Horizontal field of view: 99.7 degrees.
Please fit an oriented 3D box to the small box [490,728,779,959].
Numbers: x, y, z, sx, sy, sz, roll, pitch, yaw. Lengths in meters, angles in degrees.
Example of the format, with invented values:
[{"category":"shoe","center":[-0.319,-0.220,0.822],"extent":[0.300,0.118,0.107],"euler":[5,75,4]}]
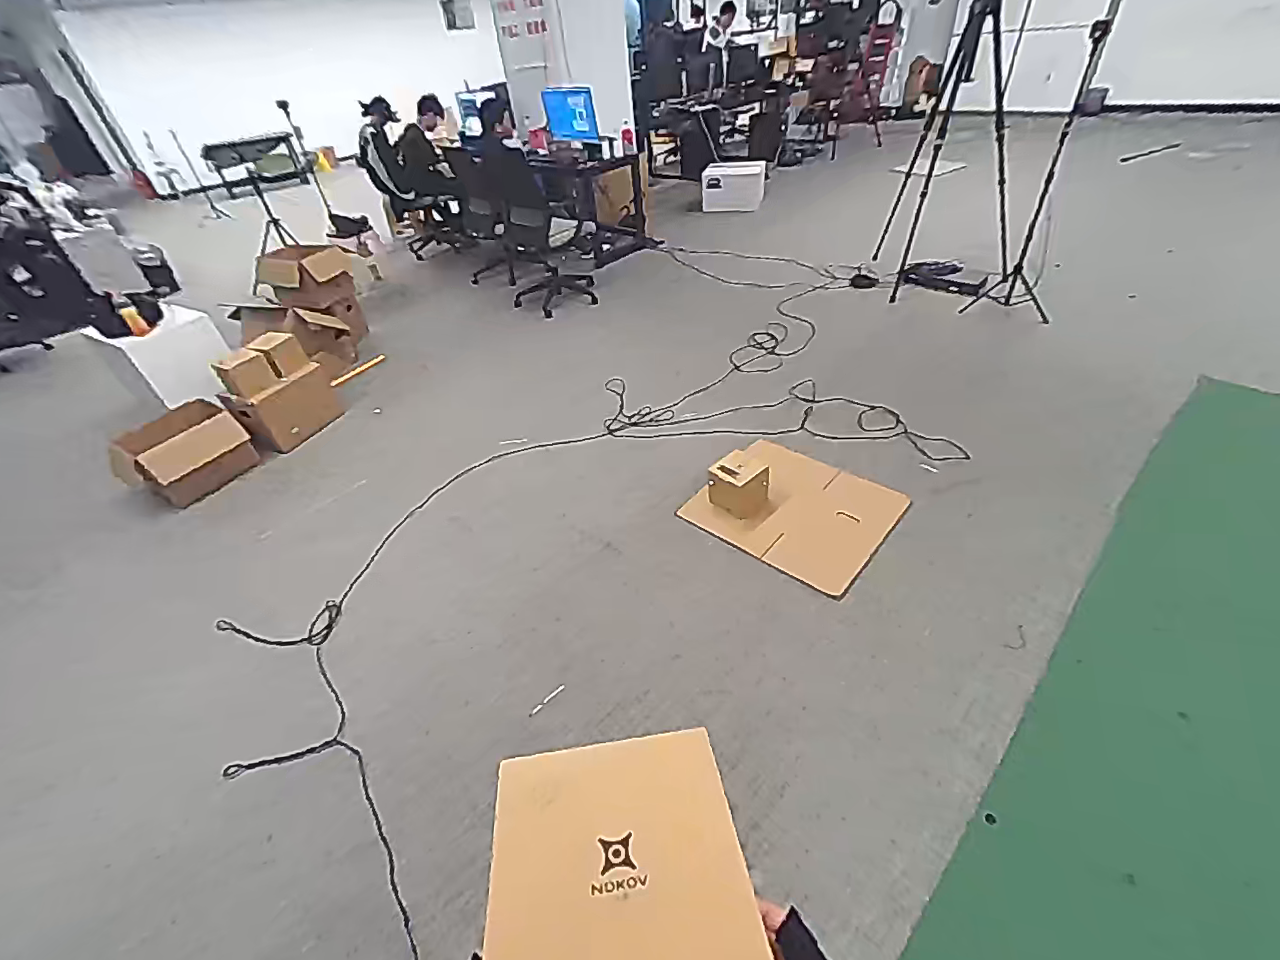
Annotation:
[{"category":"small box","center":[-0.009,0.319,0.390],"extent":[0.168,0.176,0.179],"euler":[-7,29,-7]}]
